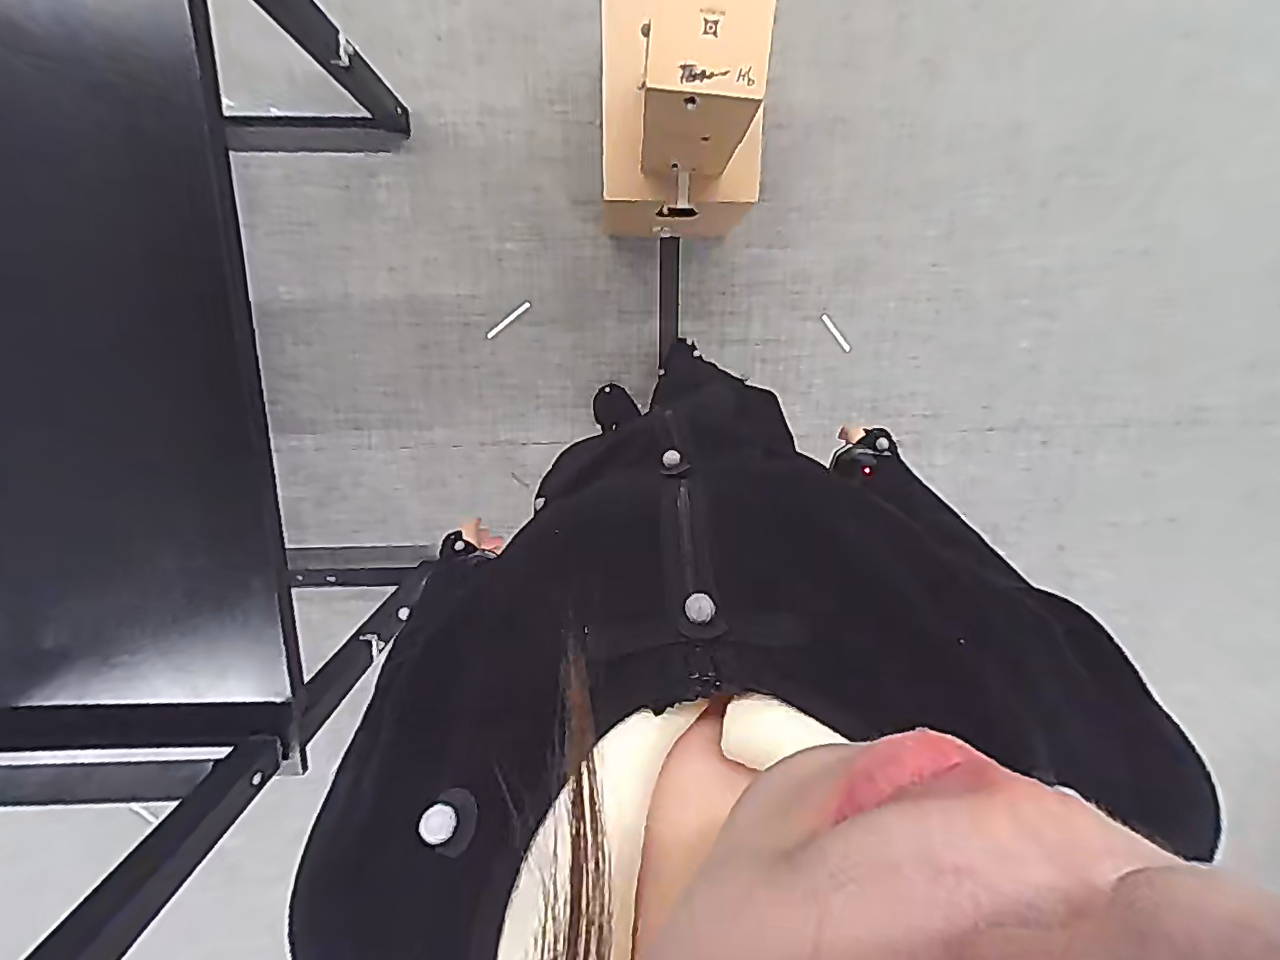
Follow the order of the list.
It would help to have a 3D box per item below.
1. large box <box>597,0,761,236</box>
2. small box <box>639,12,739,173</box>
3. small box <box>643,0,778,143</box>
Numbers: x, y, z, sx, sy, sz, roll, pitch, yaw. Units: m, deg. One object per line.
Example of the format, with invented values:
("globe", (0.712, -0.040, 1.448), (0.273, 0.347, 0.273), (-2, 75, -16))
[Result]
("large box", (0.072, -0.779, 1.172), (0.320, 0.320, 0.408), (-1, 102, -4))
("small box", (0.087, -0.667, 0.947), (0.168, 0.176, 0.179), (3, 103, -2))
("small box", (0.095, -0.628, 0.788), (0.168, 0.176, 0.179), (5, 101, -2))
